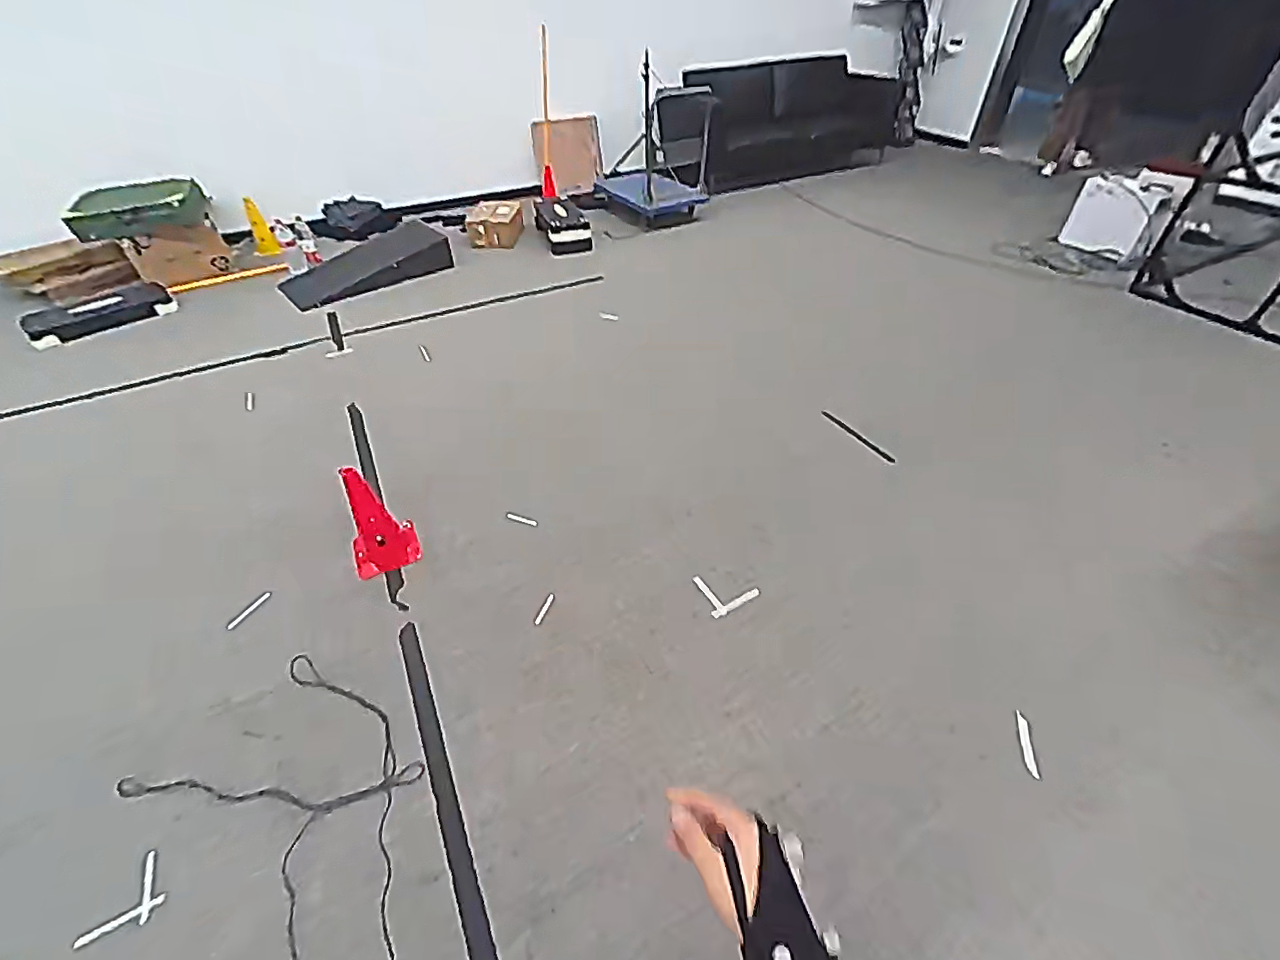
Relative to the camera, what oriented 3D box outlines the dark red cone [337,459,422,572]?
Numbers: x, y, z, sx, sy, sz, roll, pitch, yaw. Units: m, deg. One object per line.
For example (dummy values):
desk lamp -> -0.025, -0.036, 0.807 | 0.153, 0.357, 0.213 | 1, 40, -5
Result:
dark red cone -> -0.848, 0.088, 1.688 | 0.201, 0.394, 0.202 | -21, 47, -20
